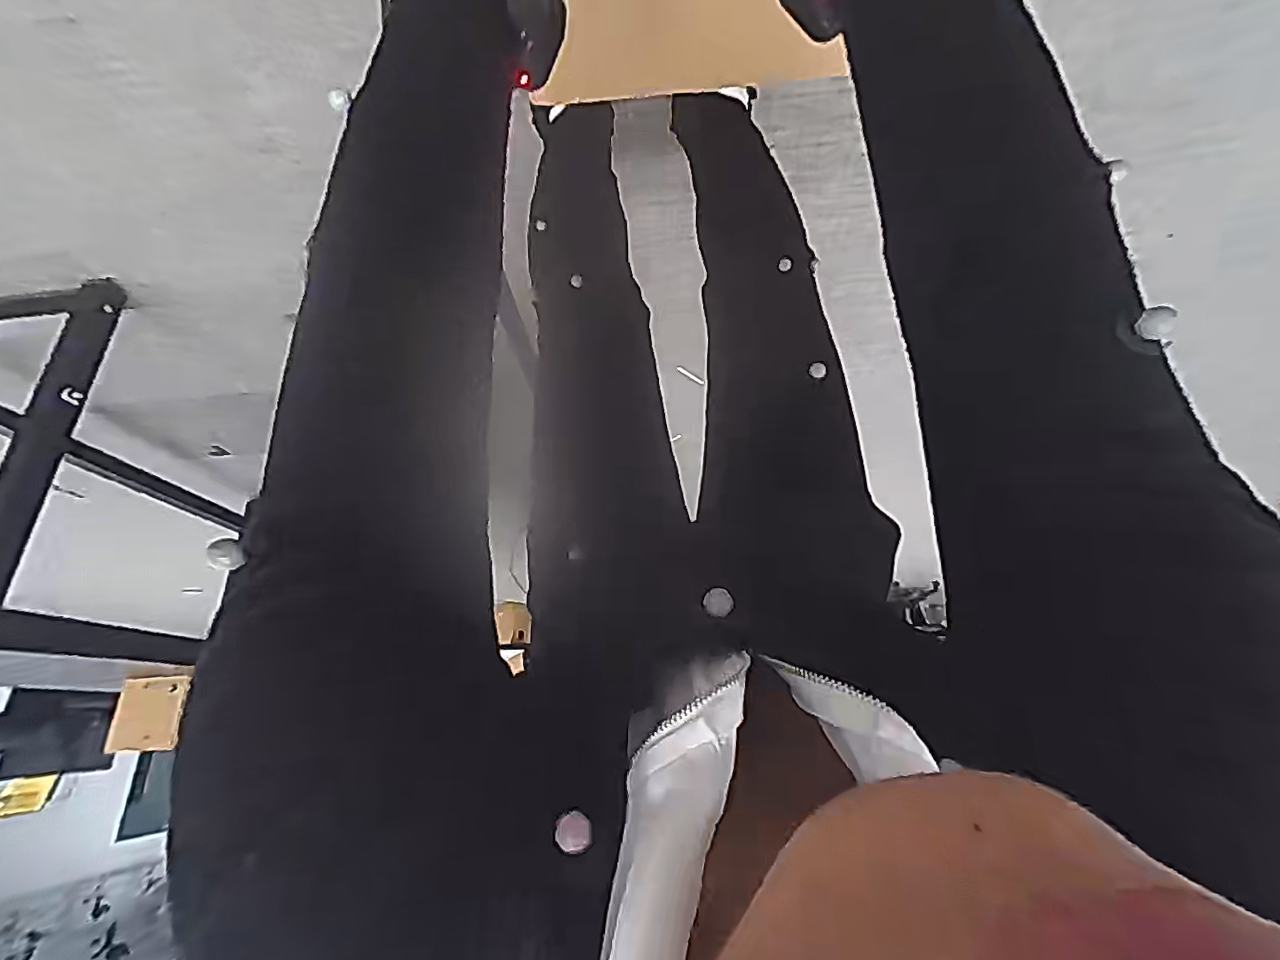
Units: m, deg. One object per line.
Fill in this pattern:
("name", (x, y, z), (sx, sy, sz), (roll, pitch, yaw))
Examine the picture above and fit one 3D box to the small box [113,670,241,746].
("small box", (-1.189, 0.587, 1.402), (0.168, 0.176, 0.179), (-4, 158, 2))
